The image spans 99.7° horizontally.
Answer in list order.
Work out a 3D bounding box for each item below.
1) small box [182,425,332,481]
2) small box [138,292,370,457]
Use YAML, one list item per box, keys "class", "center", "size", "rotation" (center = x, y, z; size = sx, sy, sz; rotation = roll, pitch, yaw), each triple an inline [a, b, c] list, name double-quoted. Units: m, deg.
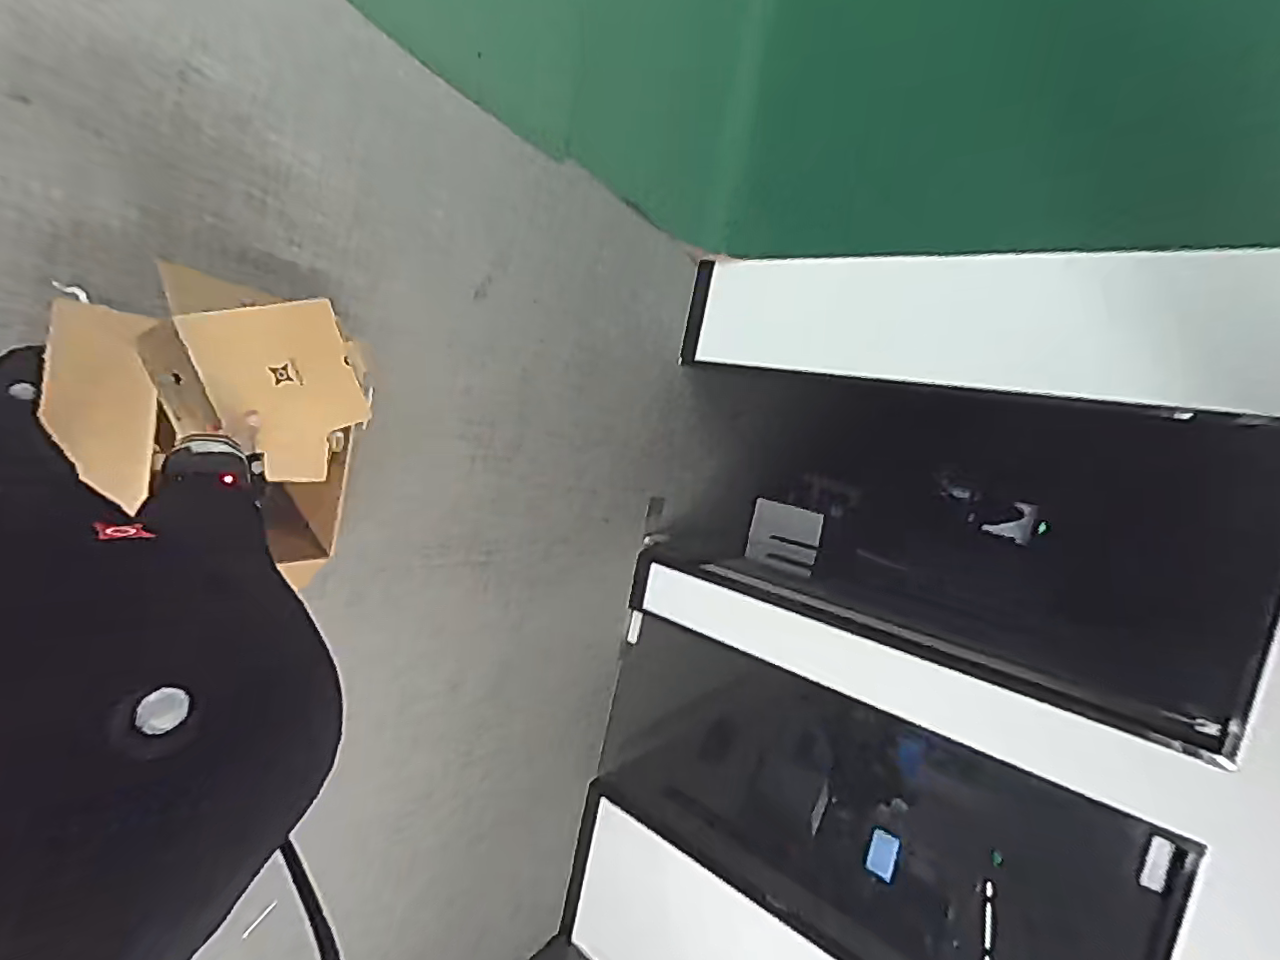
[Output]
- class: "small box"
  center: [-0.690, -0.097, 0.980]
  size: [0.179, 0.176, 0.168]
  rotation: [1, 103, -53]
- class: "small box"
  center: [-0.498, -0.133, 0.698]
  size: [0.179, 0.176, 0.168]
  rotation: [-37, 119, -50]
